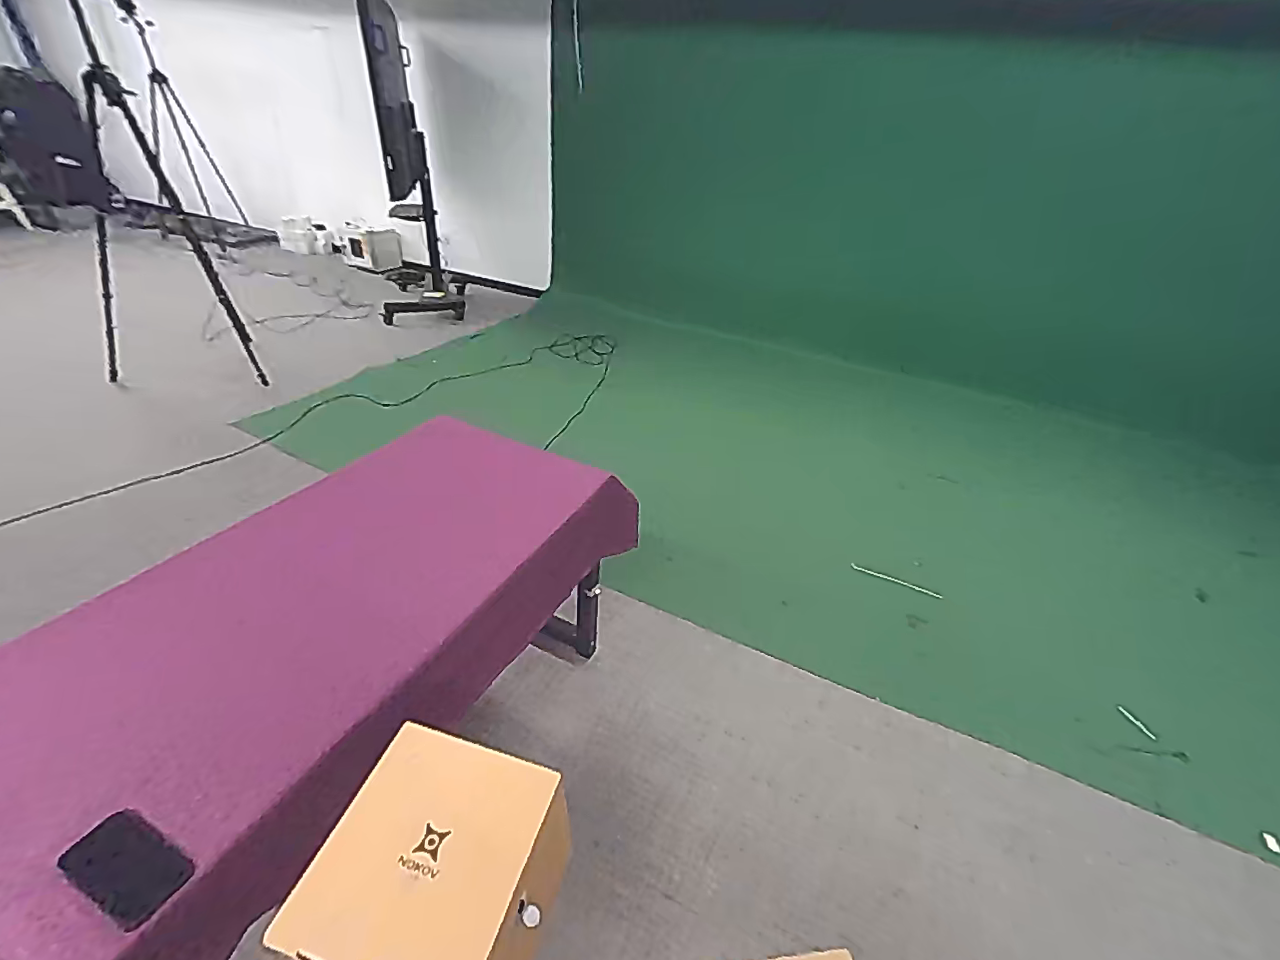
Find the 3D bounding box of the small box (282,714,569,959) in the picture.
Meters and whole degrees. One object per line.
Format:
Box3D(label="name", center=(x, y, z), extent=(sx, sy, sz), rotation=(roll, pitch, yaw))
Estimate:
Box3D(label="small box", center=(-0.173, 0.361, 0.504), extent=(0.168, 0.176, 0.179), rotation=(12, 41, 13))
